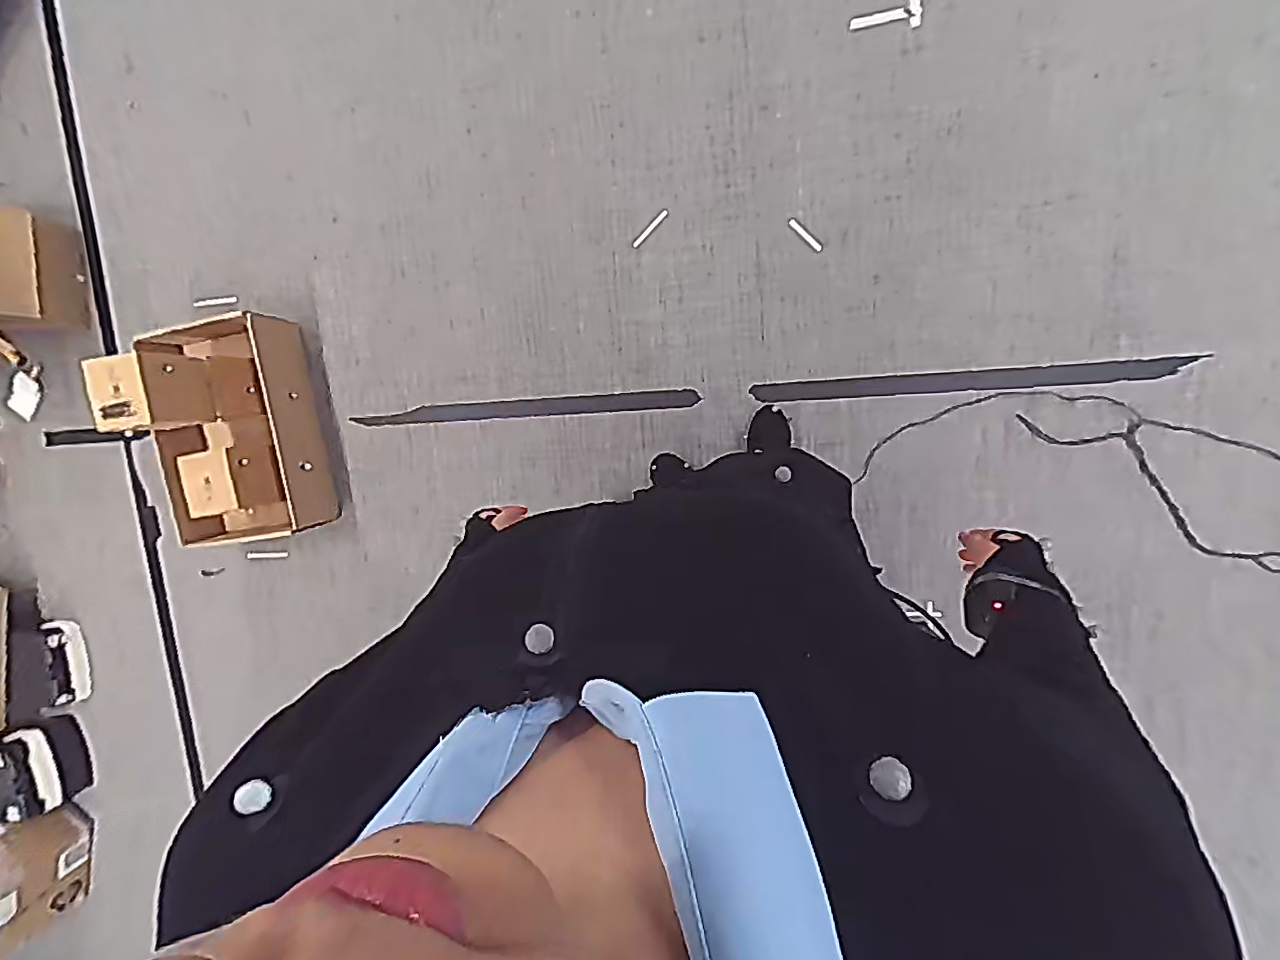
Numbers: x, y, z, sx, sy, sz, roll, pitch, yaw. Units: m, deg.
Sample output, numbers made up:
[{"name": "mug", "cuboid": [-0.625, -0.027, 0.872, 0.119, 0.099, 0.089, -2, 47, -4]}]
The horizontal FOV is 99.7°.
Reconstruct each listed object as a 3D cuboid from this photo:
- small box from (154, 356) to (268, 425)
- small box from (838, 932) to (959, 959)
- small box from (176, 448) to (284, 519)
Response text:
[{"name": "small box", "cuboid": [-1.219, -0.251, 1.545, 0.179, 0.176, 0.168, -8, 97, 10]}, {"name": "small box", "cuboid": [0.362, 0.747, 0.710, 0.168, 0.176, 0.179, -4, 96, 10]}, {"name": "small box", "cuboid": [-1.179, 0.004, 1.567, 0.168, 0.176, 0.179, -10, 94, 12]}]
